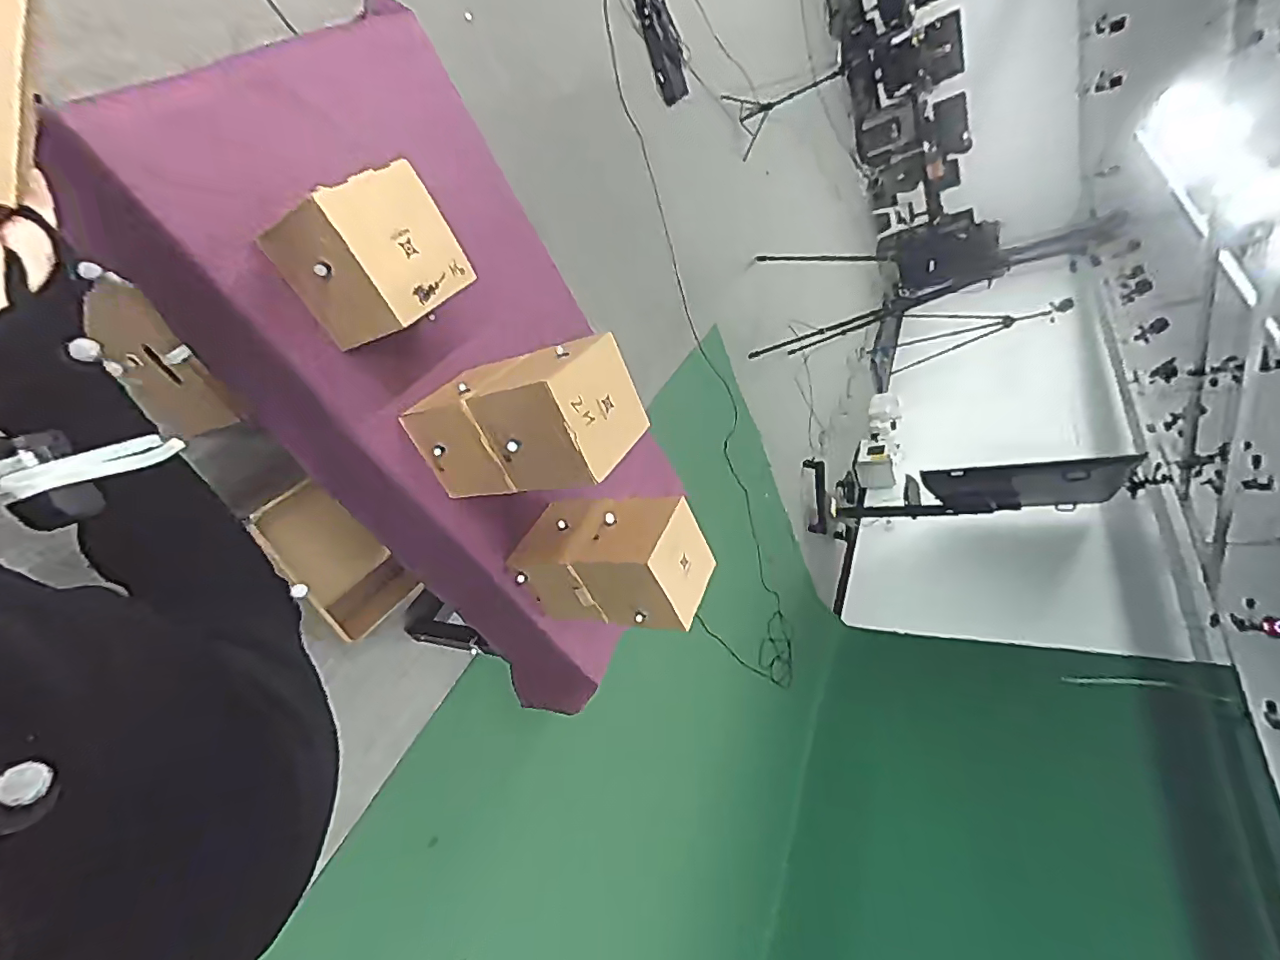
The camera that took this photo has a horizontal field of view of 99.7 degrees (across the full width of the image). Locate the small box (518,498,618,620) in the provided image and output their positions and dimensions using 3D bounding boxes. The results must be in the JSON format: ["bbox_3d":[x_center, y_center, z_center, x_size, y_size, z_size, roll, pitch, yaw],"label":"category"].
[{"bbox_3d":[-0.117,0.156,1.083,0.168,0.176,0.179,61,42,-30],"label":"small box"}]

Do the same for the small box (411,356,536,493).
[{"bbox_3d":[-0.249,-0.092,0.928,0.179,0.176,0.168,-52,127,-42],"label":"small box"}]

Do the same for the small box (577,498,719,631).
[{"bbox_3d":[0.017,0.149,0.990,0.168,0.176,0.179,-57,130,-41],"label":"small box"}]

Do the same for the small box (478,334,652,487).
[{"bbox_3d":[-0.112,-0.104,0.836,0.179,0.176,0.168,-50,126,-43],"label":"small box"}]

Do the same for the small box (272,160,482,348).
[{"bbox_3d":[-0.373,-0.314,0.773,0.168,0.176,0.179,-56,129,-39],"label":"small box"}]
